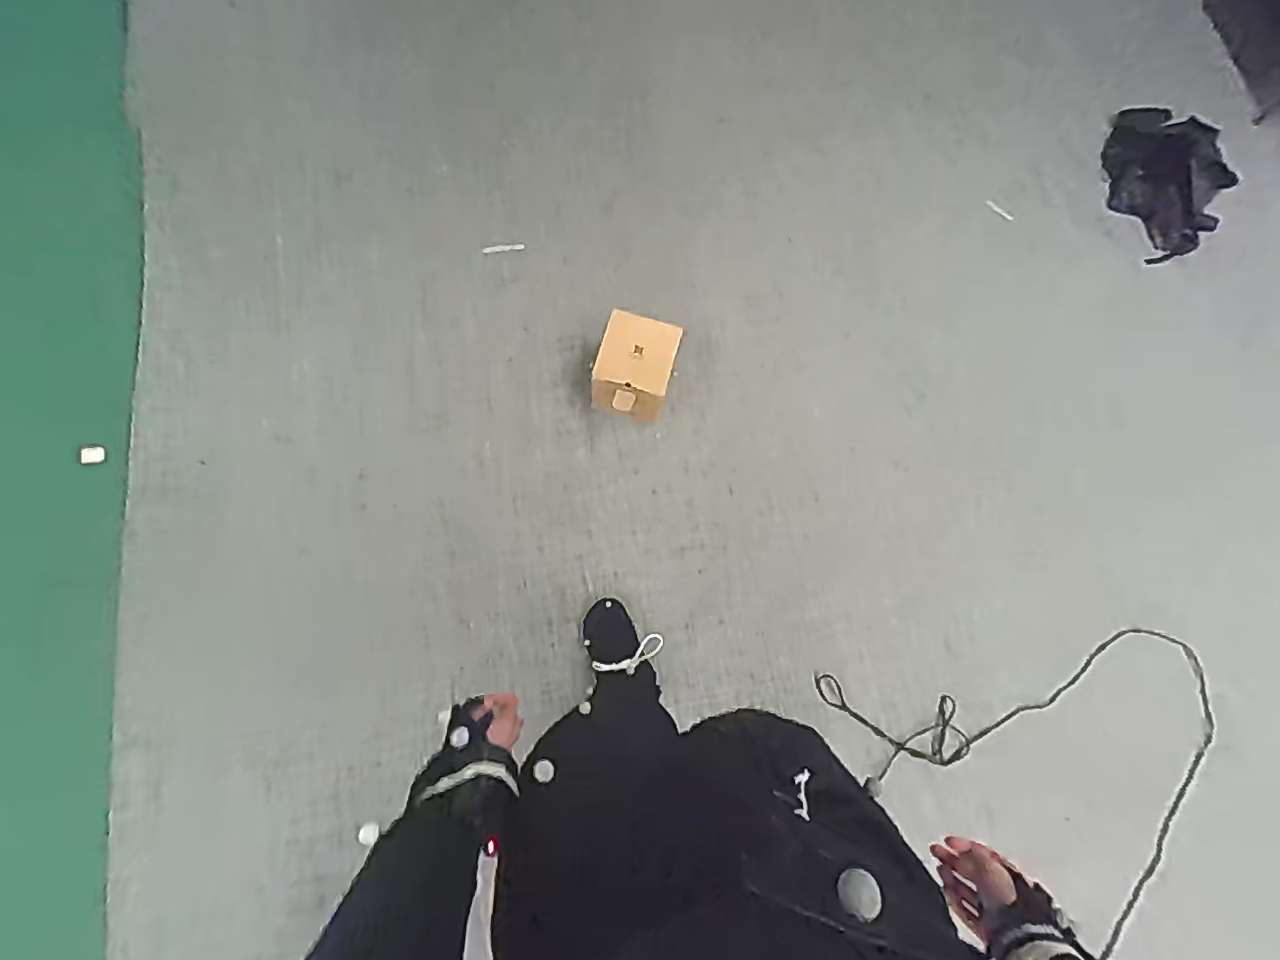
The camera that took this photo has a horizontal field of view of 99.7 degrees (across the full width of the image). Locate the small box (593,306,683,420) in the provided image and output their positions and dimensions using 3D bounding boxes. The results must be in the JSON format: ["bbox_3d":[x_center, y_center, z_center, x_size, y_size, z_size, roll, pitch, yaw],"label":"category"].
[{"bbox_3d":[-0.011,-0.265,1.253,0.168,0.176,0.179,16,76,-1],"label":"small box"}]
